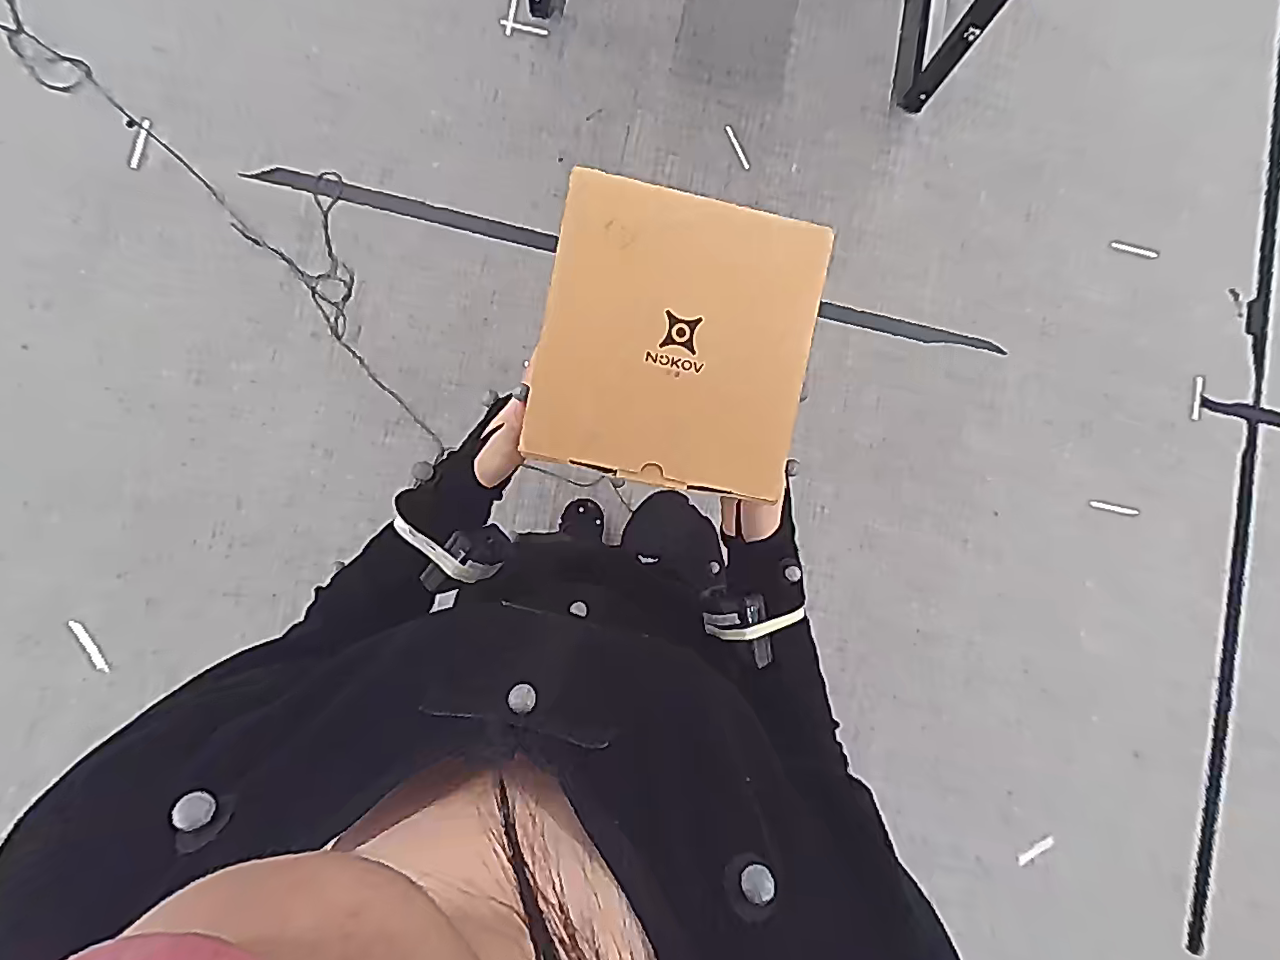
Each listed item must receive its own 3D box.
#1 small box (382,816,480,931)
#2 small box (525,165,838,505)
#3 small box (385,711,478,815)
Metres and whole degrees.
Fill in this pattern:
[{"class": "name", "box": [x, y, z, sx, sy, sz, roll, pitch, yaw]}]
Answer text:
[{"class": "small box", "box": [-0.499, 0.946, 1.313, 0.179, 0.176, 0.168, 4, 88, -6]}, {"class": "small box", "box": [0.019, -0.087, 0.403, 0.168, 0.176, 0.179, 11, 92, -6]}, {"class": "small box", "box": [-0.502, 0.685, 1.325, 0.168, 0.176, 0.179, 6, 86, -5]}]
